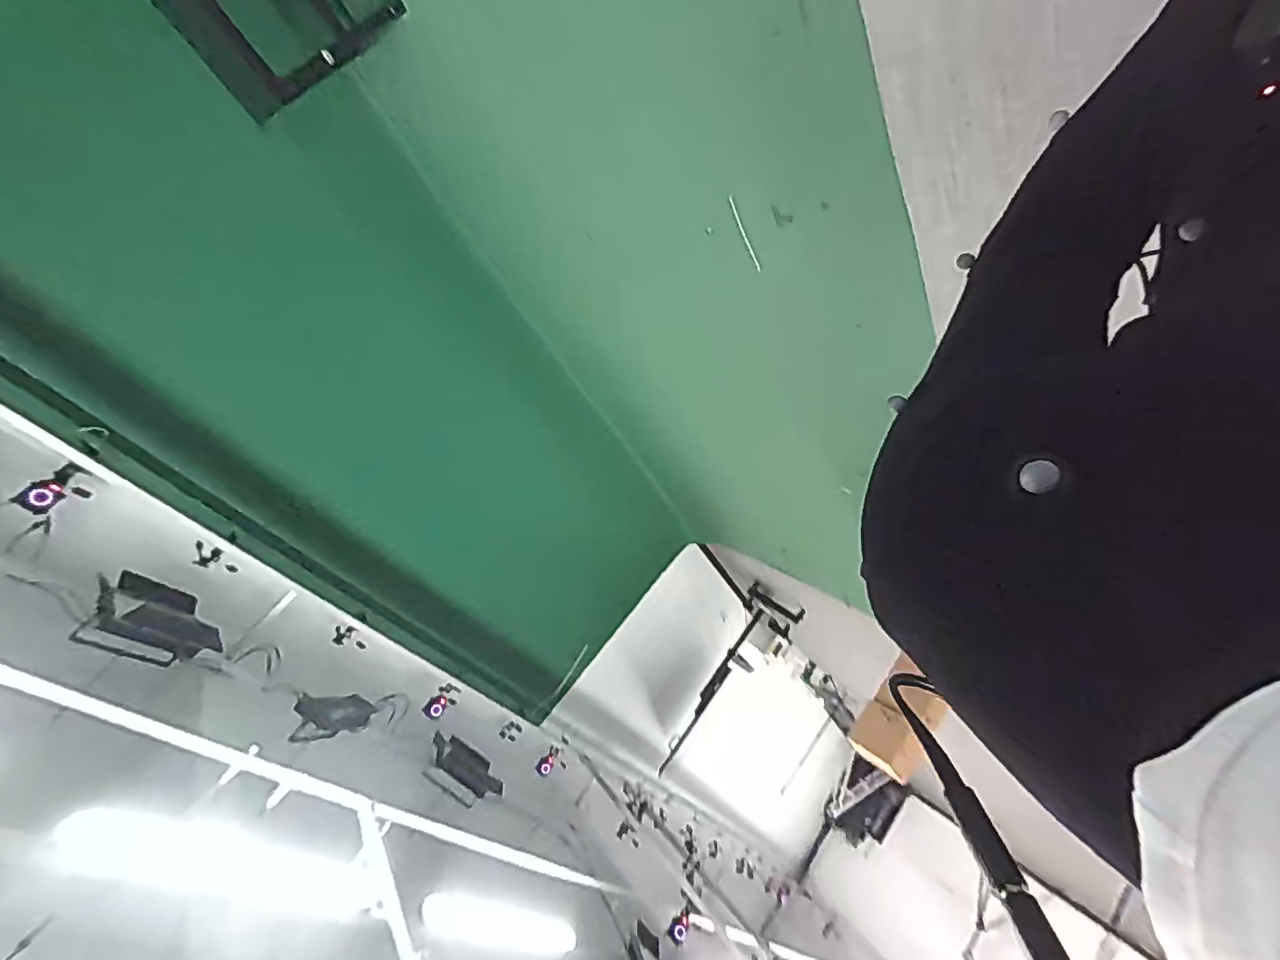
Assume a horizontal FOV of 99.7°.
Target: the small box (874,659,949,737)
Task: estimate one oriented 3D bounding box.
[{"bbox_3d":[0.970,0.769,1.925,0.168,0.176,0.179,23,158,50],"label":"small box"}]
